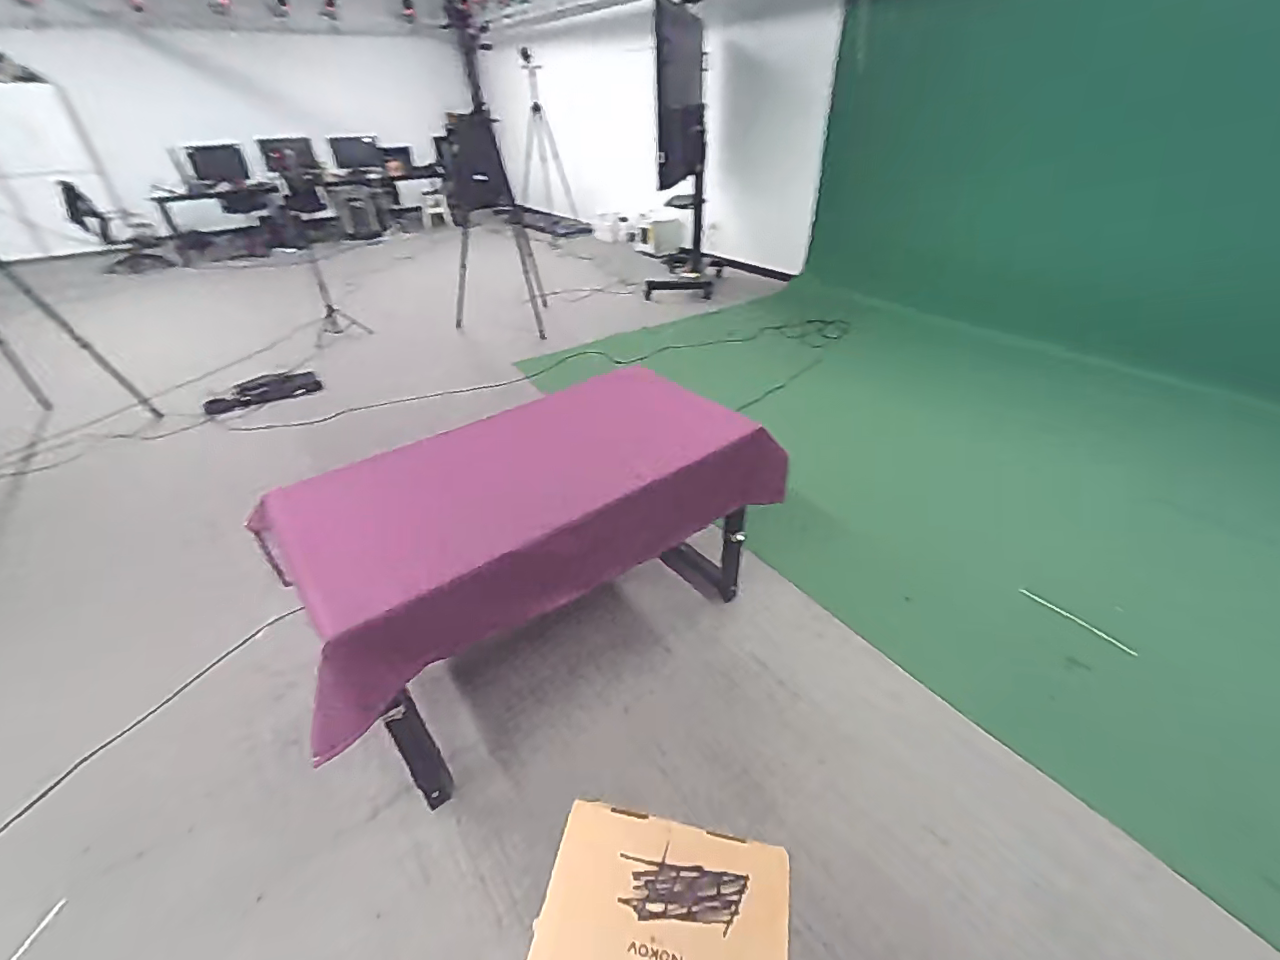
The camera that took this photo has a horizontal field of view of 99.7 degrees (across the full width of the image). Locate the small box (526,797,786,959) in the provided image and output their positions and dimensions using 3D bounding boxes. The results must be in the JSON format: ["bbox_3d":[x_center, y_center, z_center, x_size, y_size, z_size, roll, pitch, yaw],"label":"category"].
[{"bbox_3d":[0.012,0.373,0.398,0.168,0.176,0.179,5,42,12],"label":"small box"}]
